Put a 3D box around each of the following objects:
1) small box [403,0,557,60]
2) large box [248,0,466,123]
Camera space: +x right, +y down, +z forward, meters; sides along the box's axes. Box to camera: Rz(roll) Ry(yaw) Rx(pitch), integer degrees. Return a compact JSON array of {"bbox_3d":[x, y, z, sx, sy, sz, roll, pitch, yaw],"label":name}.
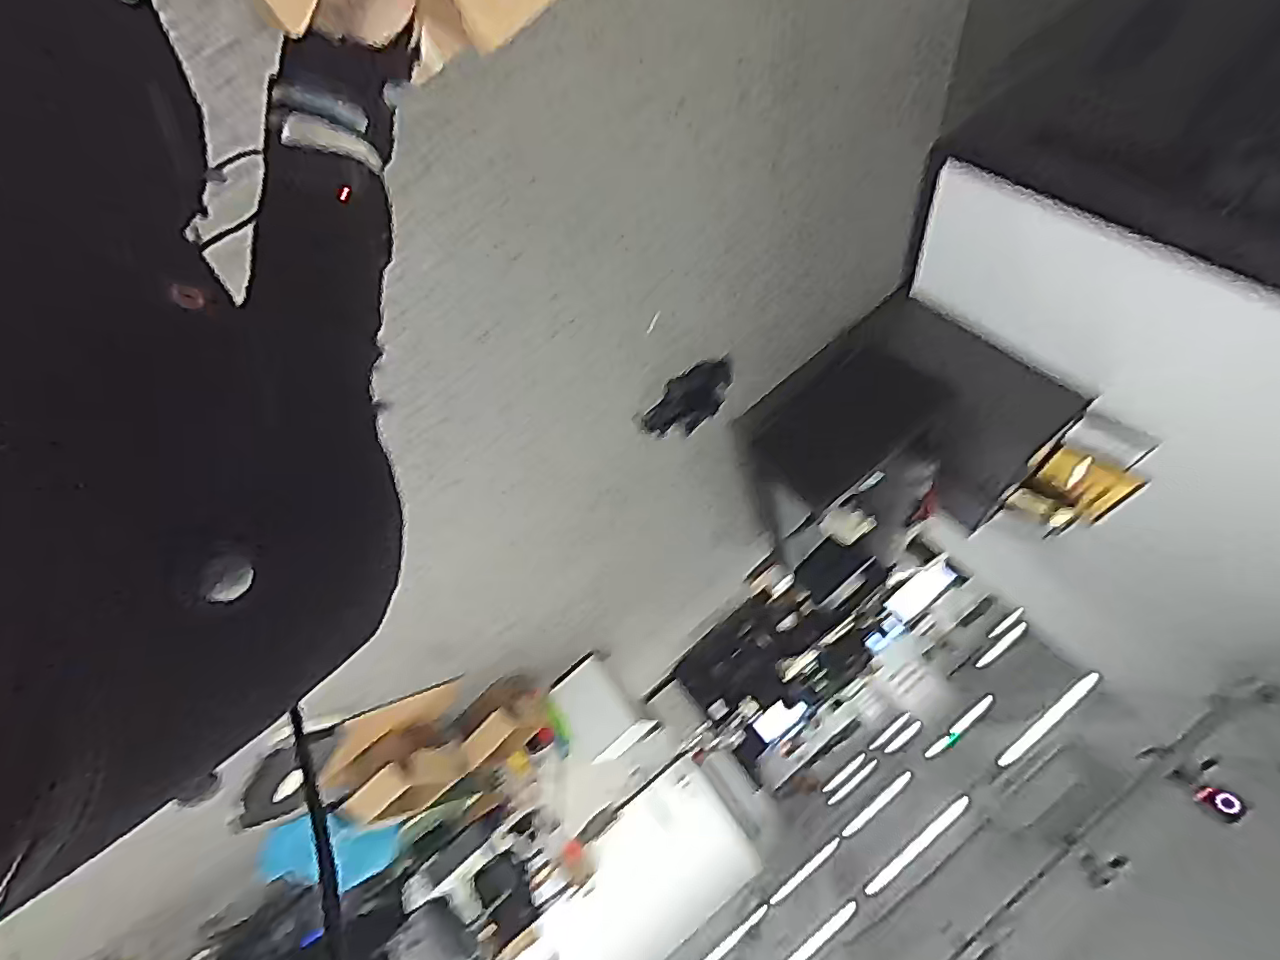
[{"bbox_3d":[-0.141,-0.488,0.421,0.179,0.176,0.168,-42,153,0],"label":"small box"},{"bbox_3d":[-0.465,-0.827,0.750,0.320,0.320,0.408,-39,153,-4],"label":"large box"}]
